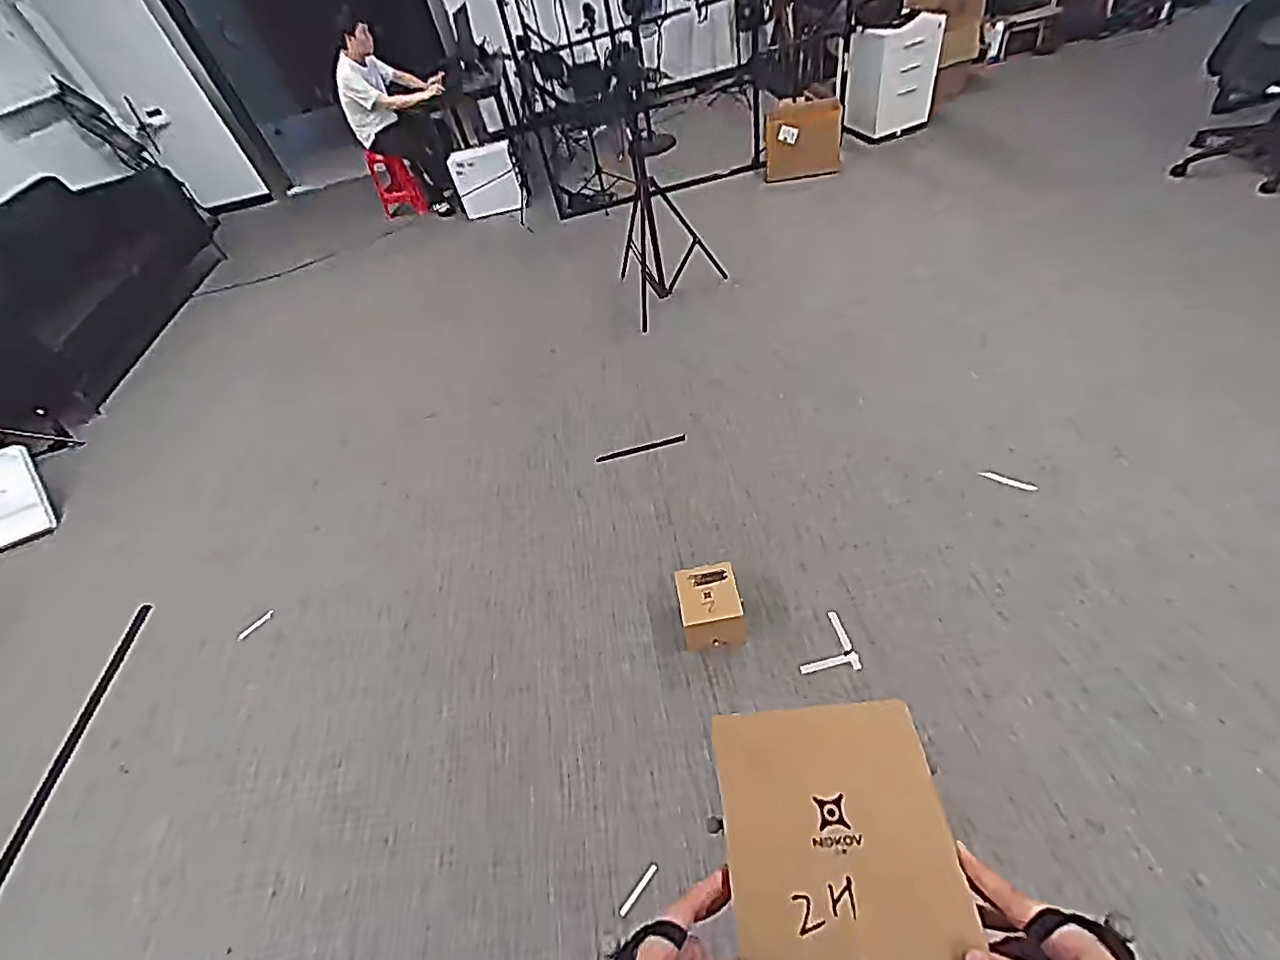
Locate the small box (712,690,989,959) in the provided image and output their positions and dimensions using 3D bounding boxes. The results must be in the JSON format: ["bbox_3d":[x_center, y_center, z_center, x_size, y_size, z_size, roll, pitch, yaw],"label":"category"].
[{"bbox_3d":[0.156,0.304,0.470,0.168,0.176,0.179,-8,50,7],"label":"small box"}]
